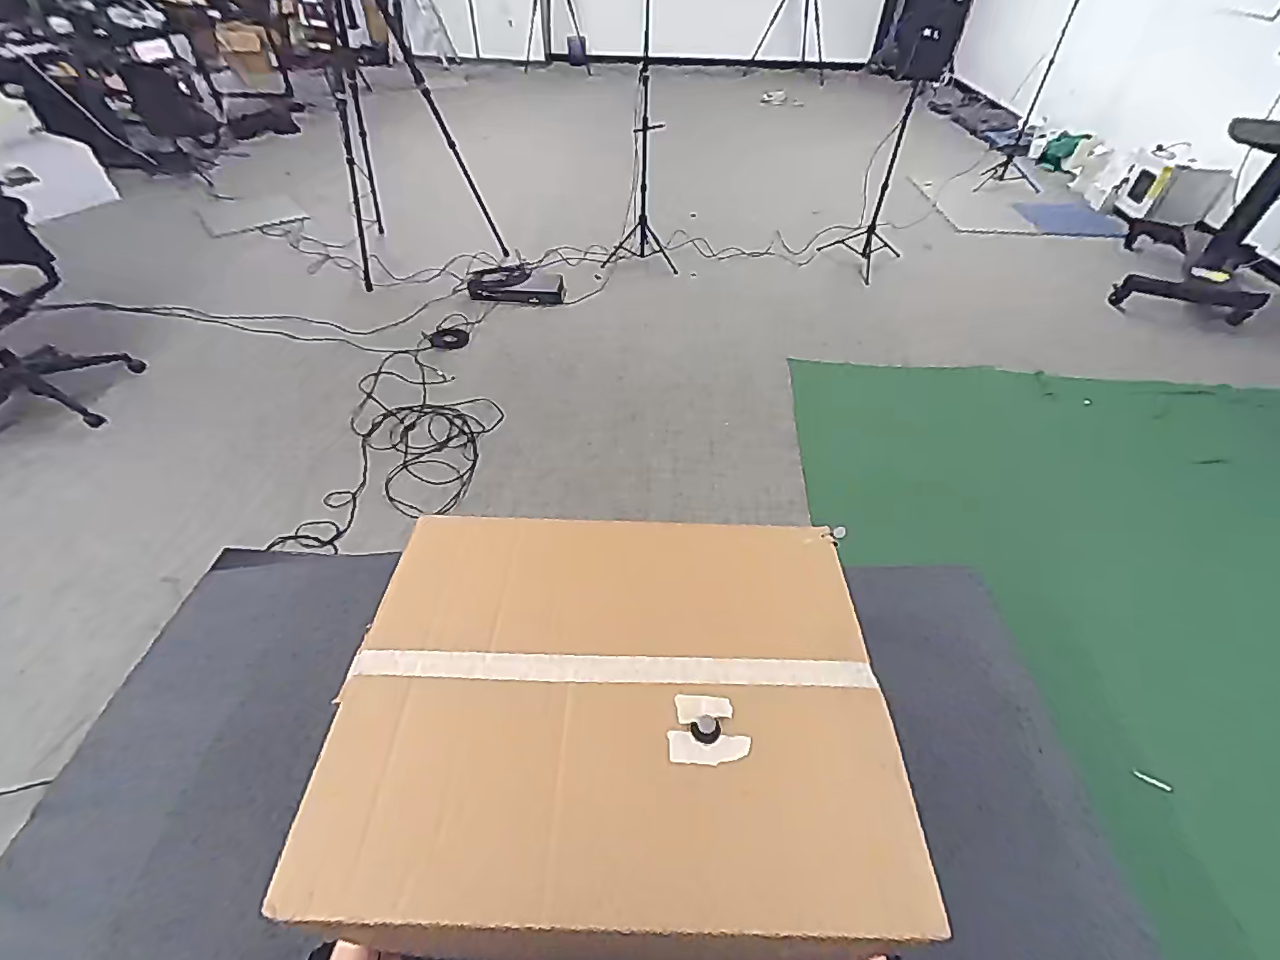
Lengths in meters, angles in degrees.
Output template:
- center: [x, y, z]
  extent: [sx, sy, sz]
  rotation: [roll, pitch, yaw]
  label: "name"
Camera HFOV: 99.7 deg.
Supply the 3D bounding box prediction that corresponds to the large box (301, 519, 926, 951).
- center: [-0.020, 0.257, 0.546]
  extent: [0.408, 0.320, 0.320]
  rotation: [2, 46, 0]
  label: "large box"
